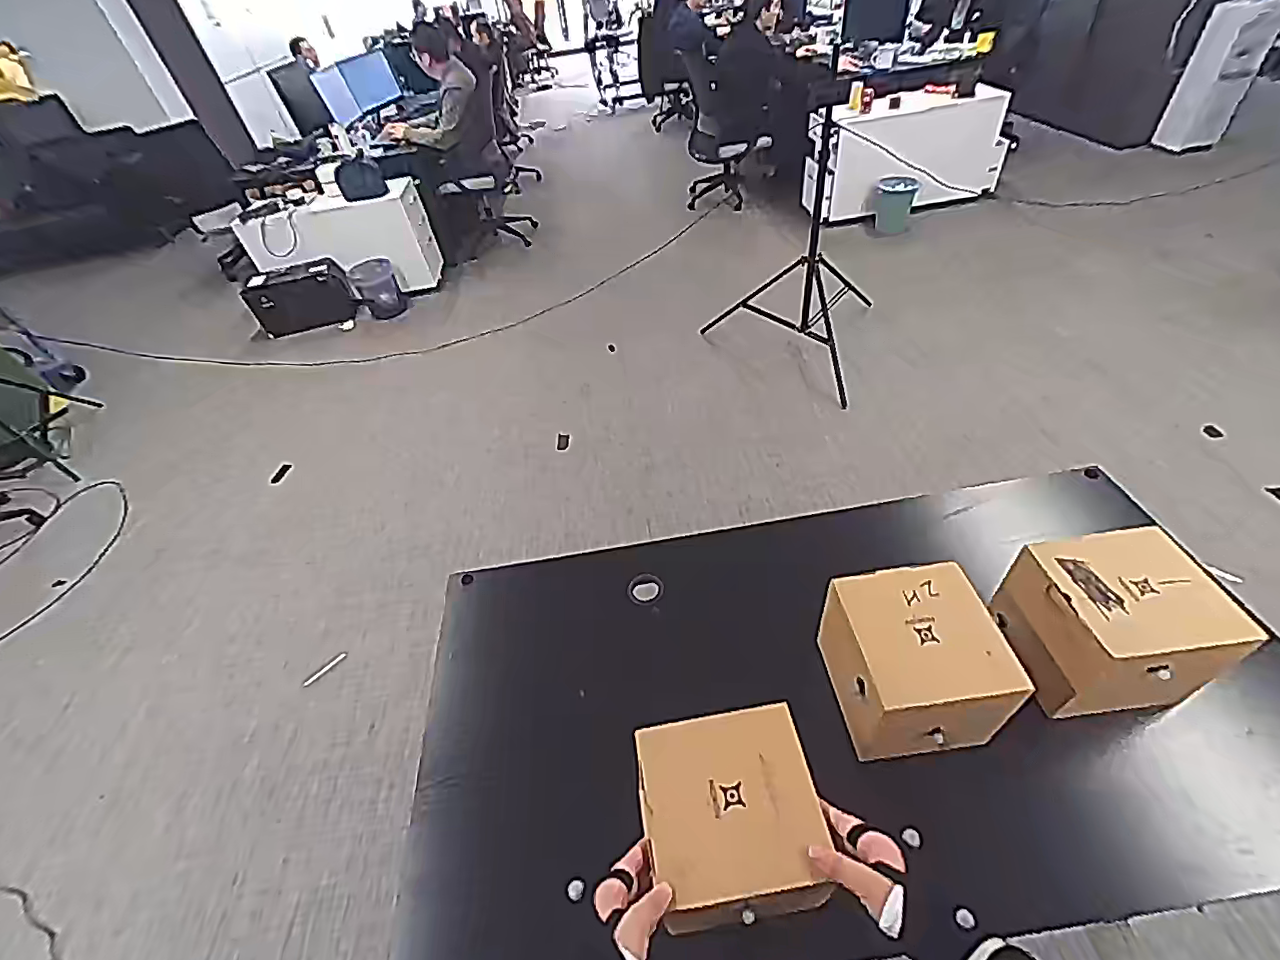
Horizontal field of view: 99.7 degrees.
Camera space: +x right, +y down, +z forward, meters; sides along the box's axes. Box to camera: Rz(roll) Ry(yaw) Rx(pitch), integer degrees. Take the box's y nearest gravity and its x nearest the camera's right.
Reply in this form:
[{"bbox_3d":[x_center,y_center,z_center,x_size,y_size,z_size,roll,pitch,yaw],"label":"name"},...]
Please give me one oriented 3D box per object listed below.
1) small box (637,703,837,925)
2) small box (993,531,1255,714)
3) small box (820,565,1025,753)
[{"bbox_3d":[0.101,0.382,0.615,0.179,0.176,0.168,-10,45,-1],"label":"small box"},{"bbox_3d":[0.605,0.192,0.715,0.179,0.176,0.168,-8,44,1],"label":"small box"},{"bbox_3d":[0.349,0.241,0.711,0.168,0.176,0.179,-8,44,1],"label":"small box"}]
